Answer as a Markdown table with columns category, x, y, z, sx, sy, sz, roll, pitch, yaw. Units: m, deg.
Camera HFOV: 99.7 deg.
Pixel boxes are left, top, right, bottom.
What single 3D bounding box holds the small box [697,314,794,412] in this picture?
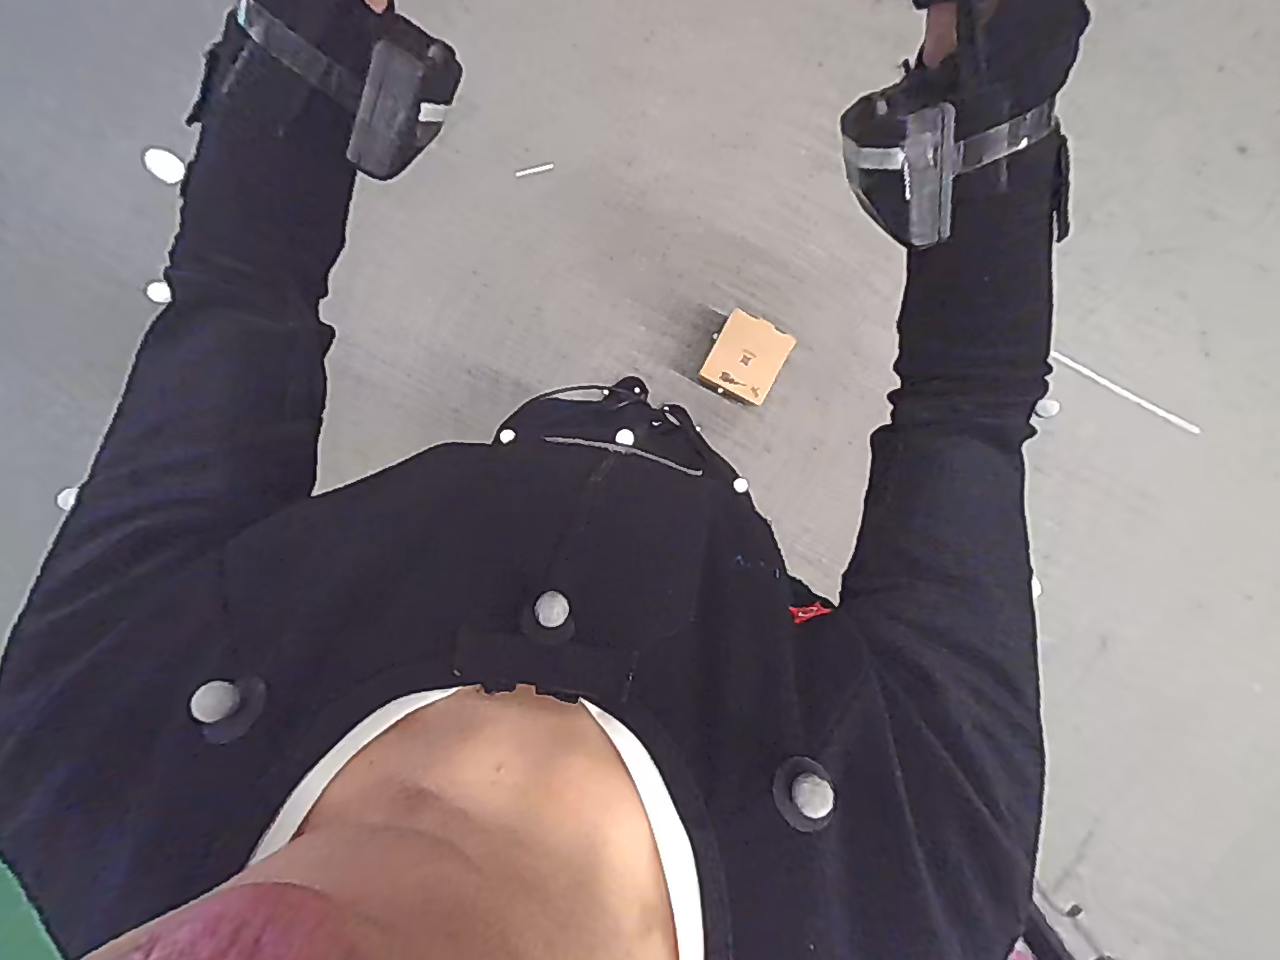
| category | x | y | z | sx | sy | sz | roll | pitch | yaw |
| --- | --- | --- | --- | --- | --- | --- | --- | --- | --- |
| small box | 0.250 | -0.283 | 1.340 | 0.168 | 0.176 | 0.179 | 29 | 98 | 0 |
